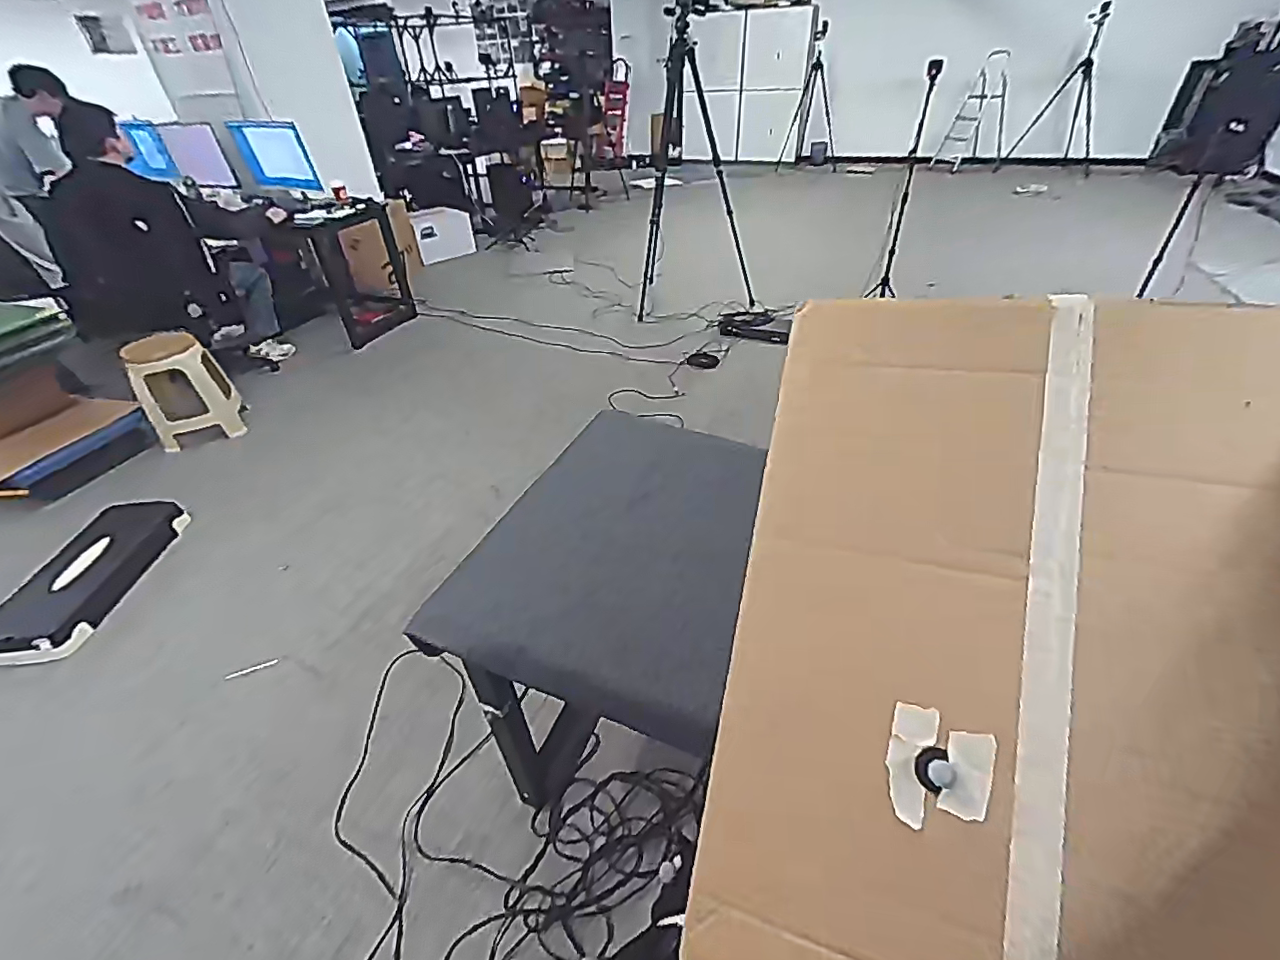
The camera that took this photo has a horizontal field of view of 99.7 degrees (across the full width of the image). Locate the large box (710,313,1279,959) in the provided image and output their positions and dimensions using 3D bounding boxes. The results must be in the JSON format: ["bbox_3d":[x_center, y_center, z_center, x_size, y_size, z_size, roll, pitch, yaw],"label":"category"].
[{"bbox_3d":[0.260,0.125,0.434,0.320,0.320,0.408,8,80,19],"label":"large box"}]
